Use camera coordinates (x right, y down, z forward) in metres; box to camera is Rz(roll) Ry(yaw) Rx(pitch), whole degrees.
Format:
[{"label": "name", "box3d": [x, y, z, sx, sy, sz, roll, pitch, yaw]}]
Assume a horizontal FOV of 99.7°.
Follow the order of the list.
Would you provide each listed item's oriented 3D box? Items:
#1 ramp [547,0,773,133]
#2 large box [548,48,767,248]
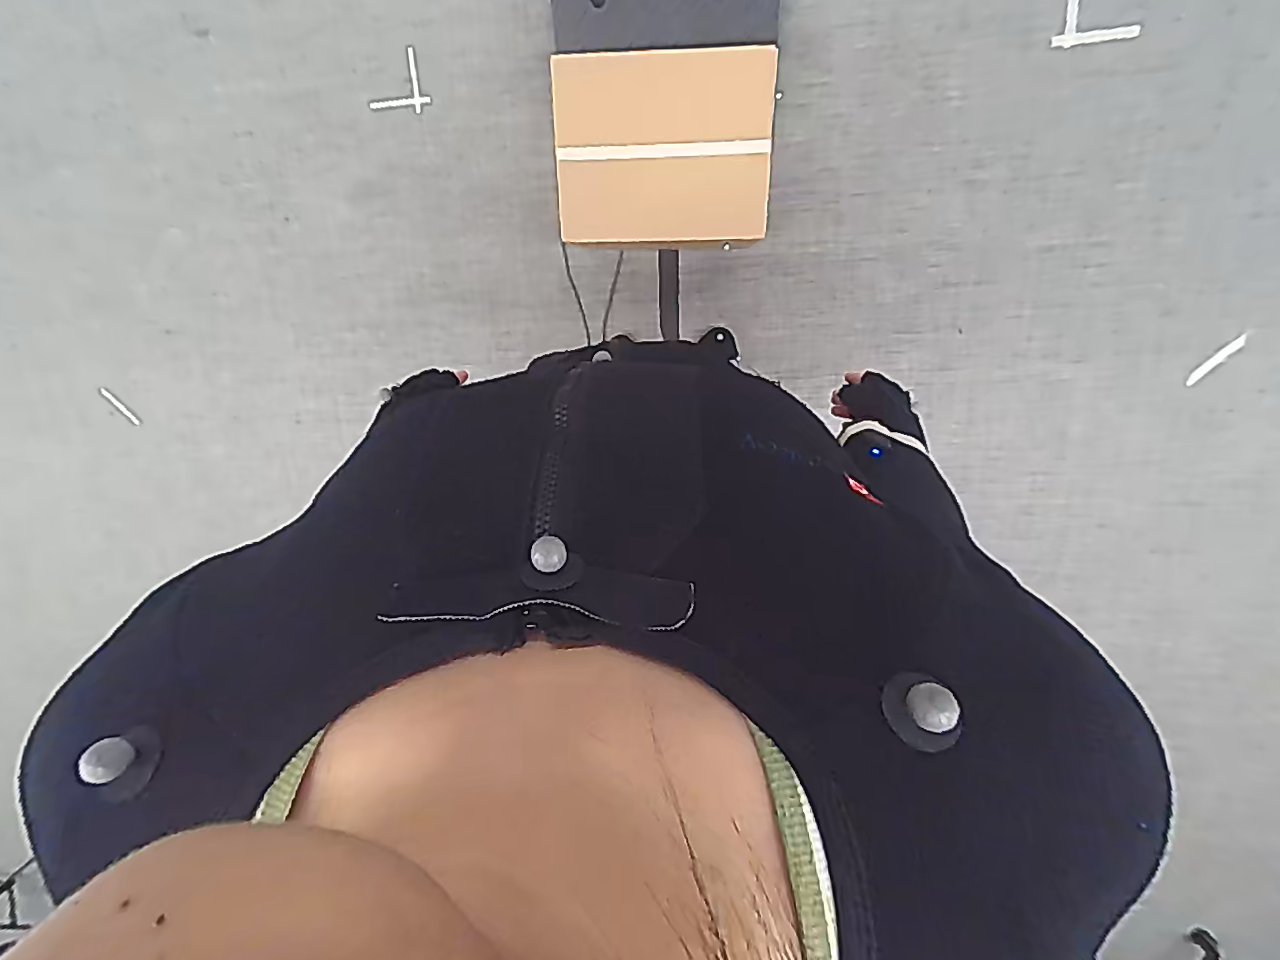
[{"label": "ramp", "box3d": [0.033, -1.239, 1.066, 0.509, 0.206, 0.991, -3, 106, 4]}, {"label": "large box", "box3d": [0.044, -0.673, 1.157, 0.408, 0.320, 0.320, 1, 110, 4]}]
